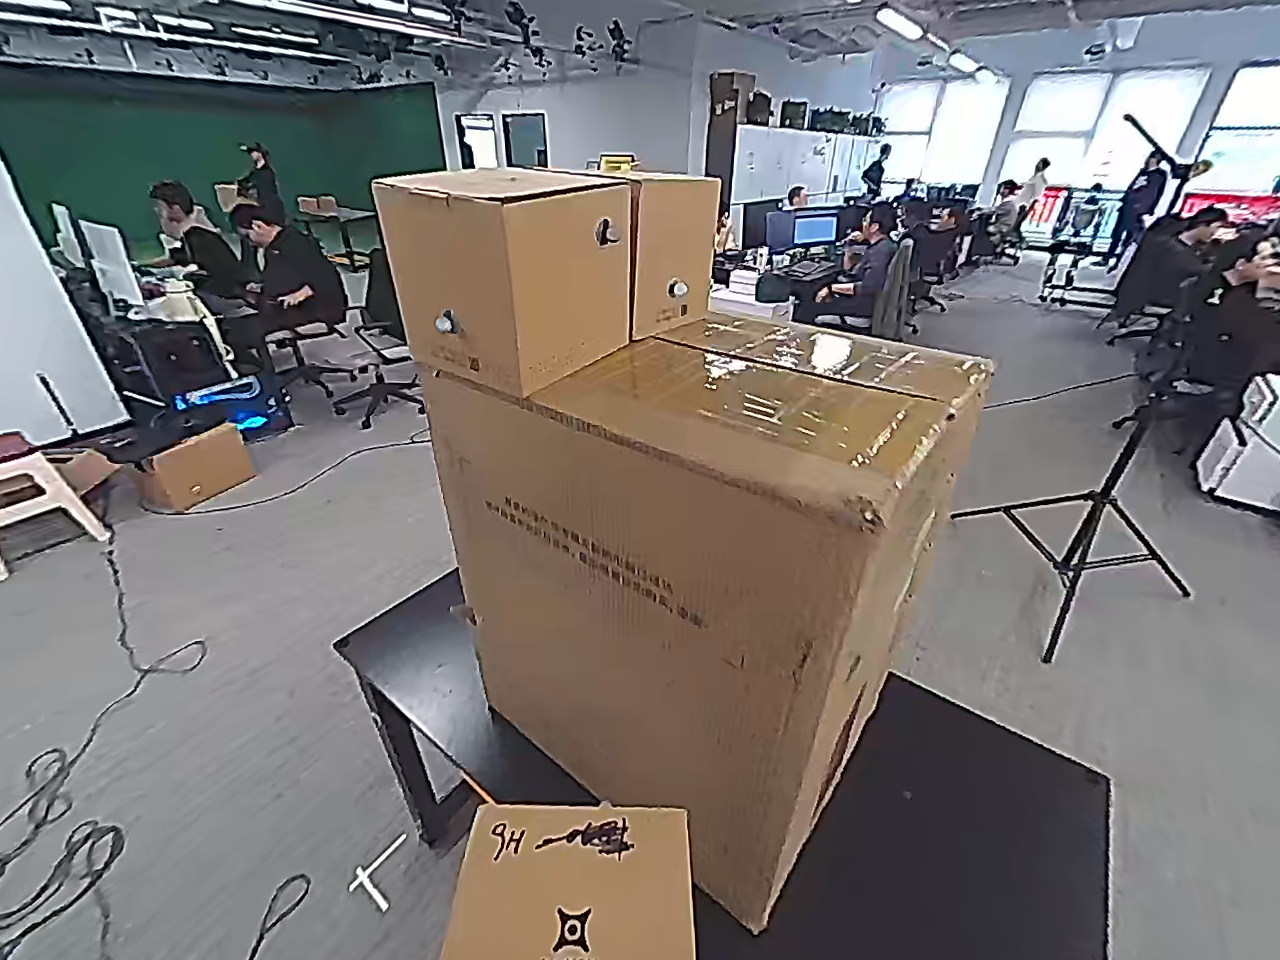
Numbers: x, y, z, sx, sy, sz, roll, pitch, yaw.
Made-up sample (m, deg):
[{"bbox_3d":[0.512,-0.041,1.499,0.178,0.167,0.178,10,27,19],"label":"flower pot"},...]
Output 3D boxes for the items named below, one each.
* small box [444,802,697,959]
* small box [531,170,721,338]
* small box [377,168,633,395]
[{"bbox_3d":[-0.045,0.368,0.396,0.168,0.176,0.179,1,35,-1],"label":"small box"},{"bbox_3d":[-0.023,-0.285,0.676,0.179,0.176,0.168,24,37,30],"label":"small box"},{"bbox_3d":[-0.124,-0.207,0.546,0.168,0.176,0.179,21,40,27],"label":"small box"}]
